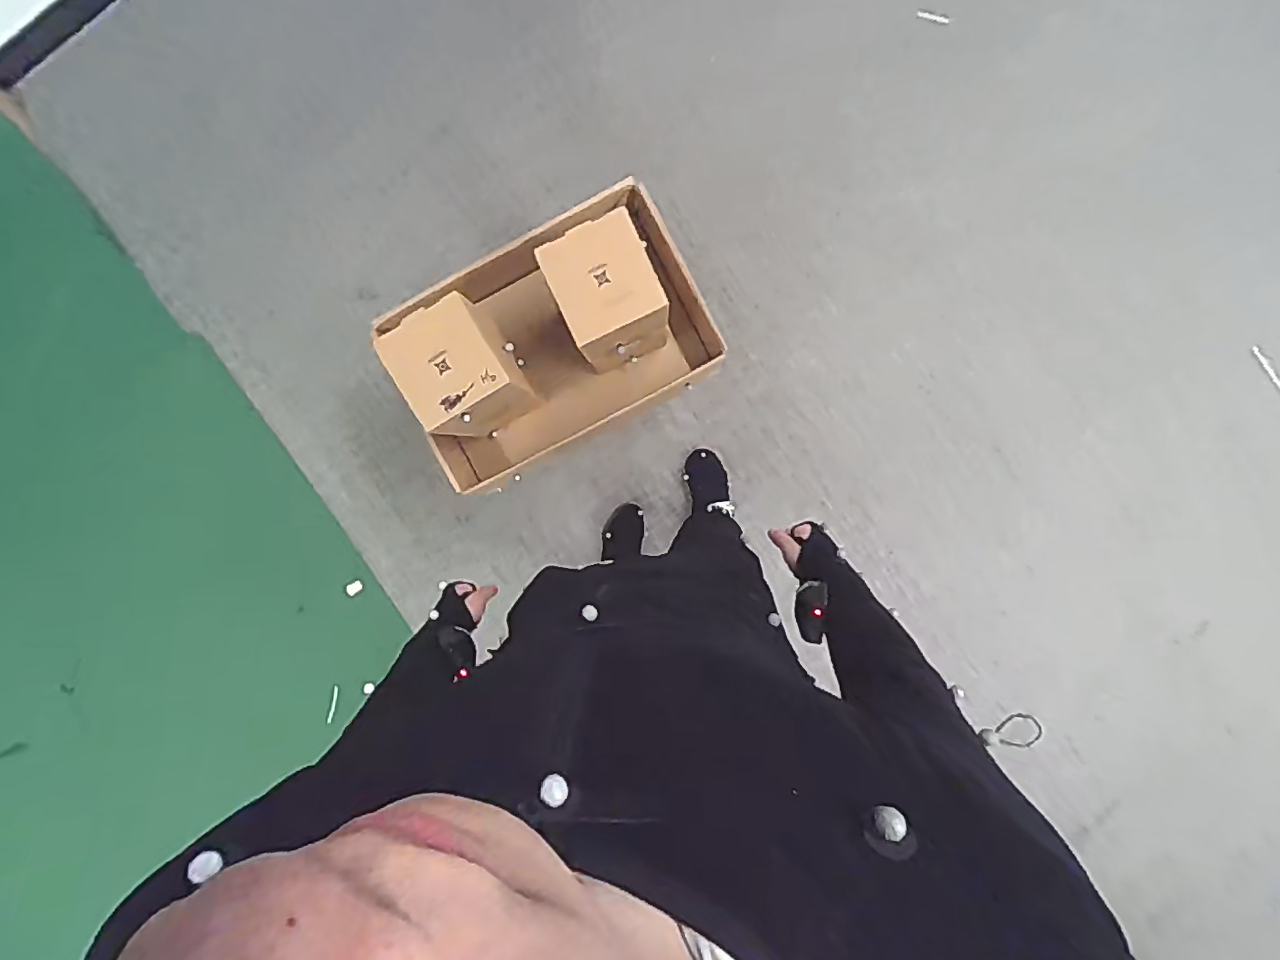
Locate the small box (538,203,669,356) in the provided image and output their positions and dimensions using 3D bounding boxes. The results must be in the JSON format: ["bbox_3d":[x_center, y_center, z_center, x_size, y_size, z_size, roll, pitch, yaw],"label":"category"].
[{"bbox_3d":[-0.058,-0.342,0.956,0.168,0.176,0.179,-24,92,4],"label":"small box"}]

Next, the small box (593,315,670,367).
[{"bbox_3d":[-0.046,-0.354,1.119,0.168,0.176,0.179,-24,92,5],"label":"small box"}]

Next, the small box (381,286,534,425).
[{"bbox_3d":[-0.318,-0.211,0.976,0.168,0.176,0.179,-31,92,5],"label":"small box"}]
